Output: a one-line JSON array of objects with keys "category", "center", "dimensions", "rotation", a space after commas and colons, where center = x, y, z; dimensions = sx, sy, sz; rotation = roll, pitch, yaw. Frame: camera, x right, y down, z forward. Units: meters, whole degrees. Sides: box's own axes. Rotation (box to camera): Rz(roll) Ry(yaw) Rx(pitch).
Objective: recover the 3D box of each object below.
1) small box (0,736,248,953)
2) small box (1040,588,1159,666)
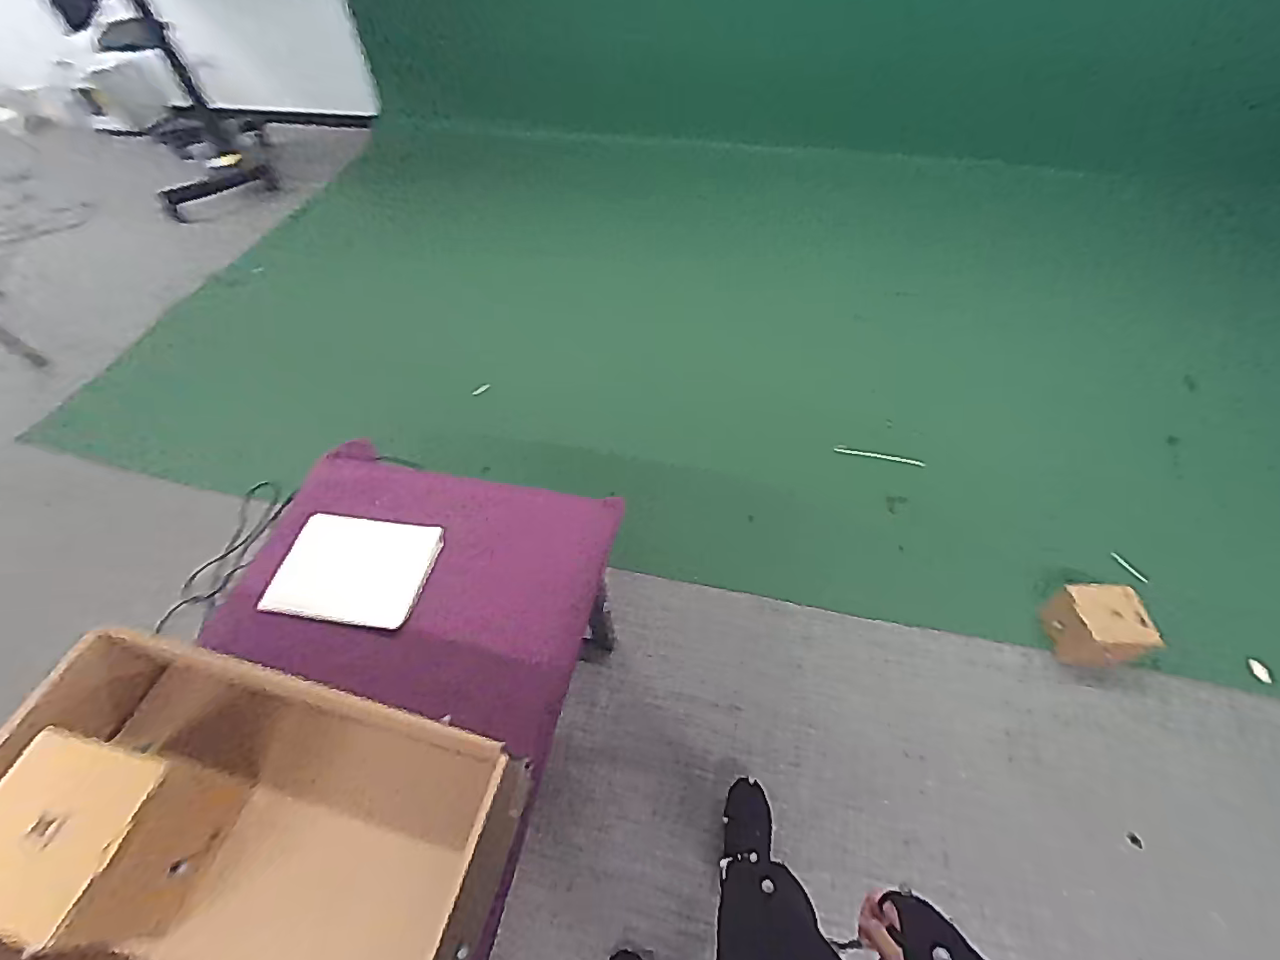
[{"category": "small box", "center": [-0.627, 0.424, 0.636], "dimensions": [0.179, 0.176, 0.168], "rotation": [10, 53, 7]}, {"category": "small box", "center": [1.276, 0.416, 1.524], "dimensions": [0.179, 0.176, 0.168], "rotation": [0, 53, 3]}]
